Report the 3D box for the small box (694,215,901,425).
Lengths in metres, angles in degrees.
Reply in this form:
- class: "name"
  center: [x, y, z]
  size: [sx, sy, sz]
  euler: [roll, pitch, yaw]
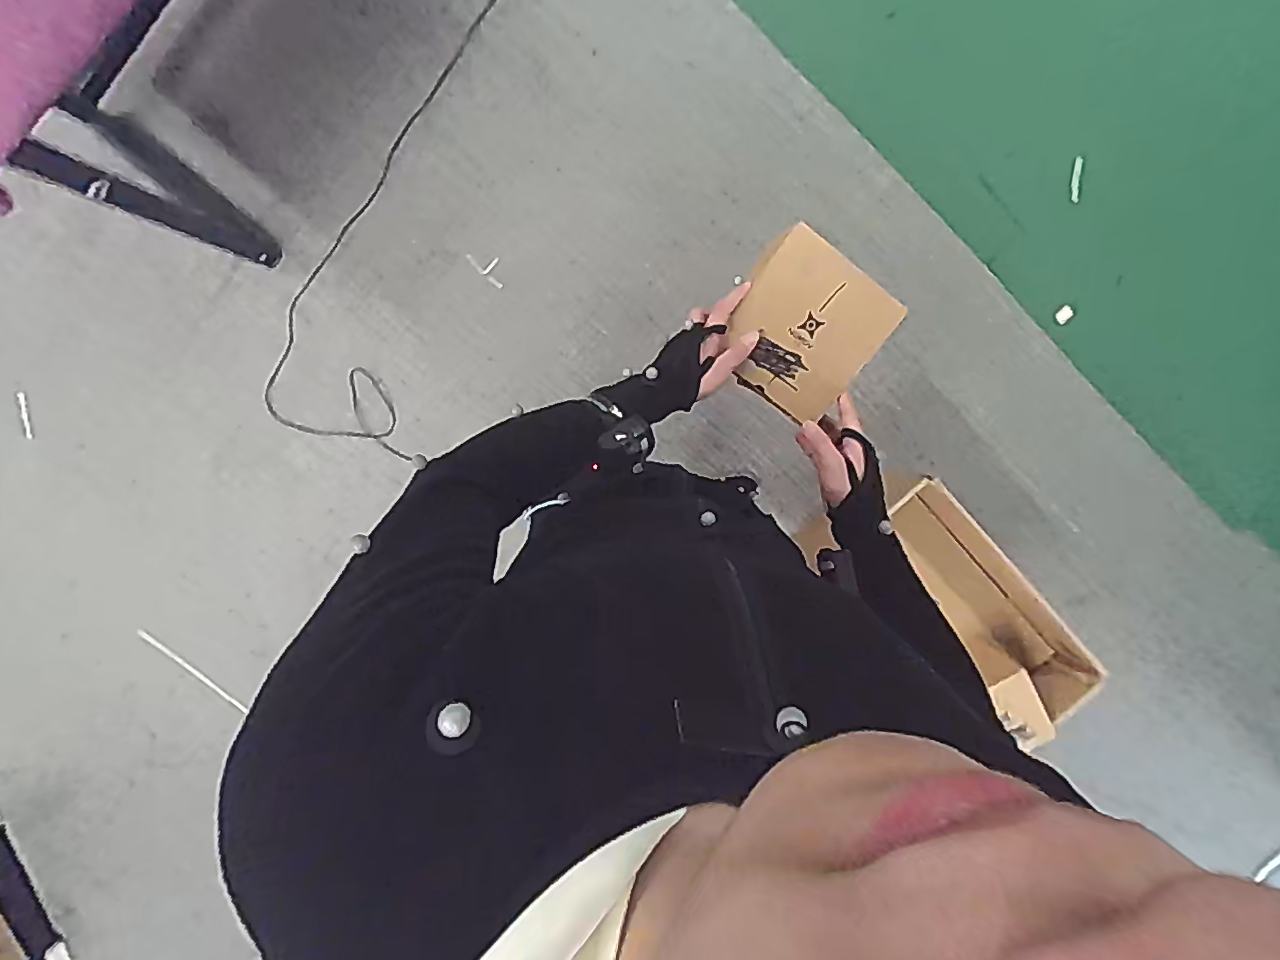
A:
- class: "small box"
  center: [0.183, -0.198, 0.691]
  size: [0.168, 0.176, 0.179]
  euler: [34, 104, -8]
